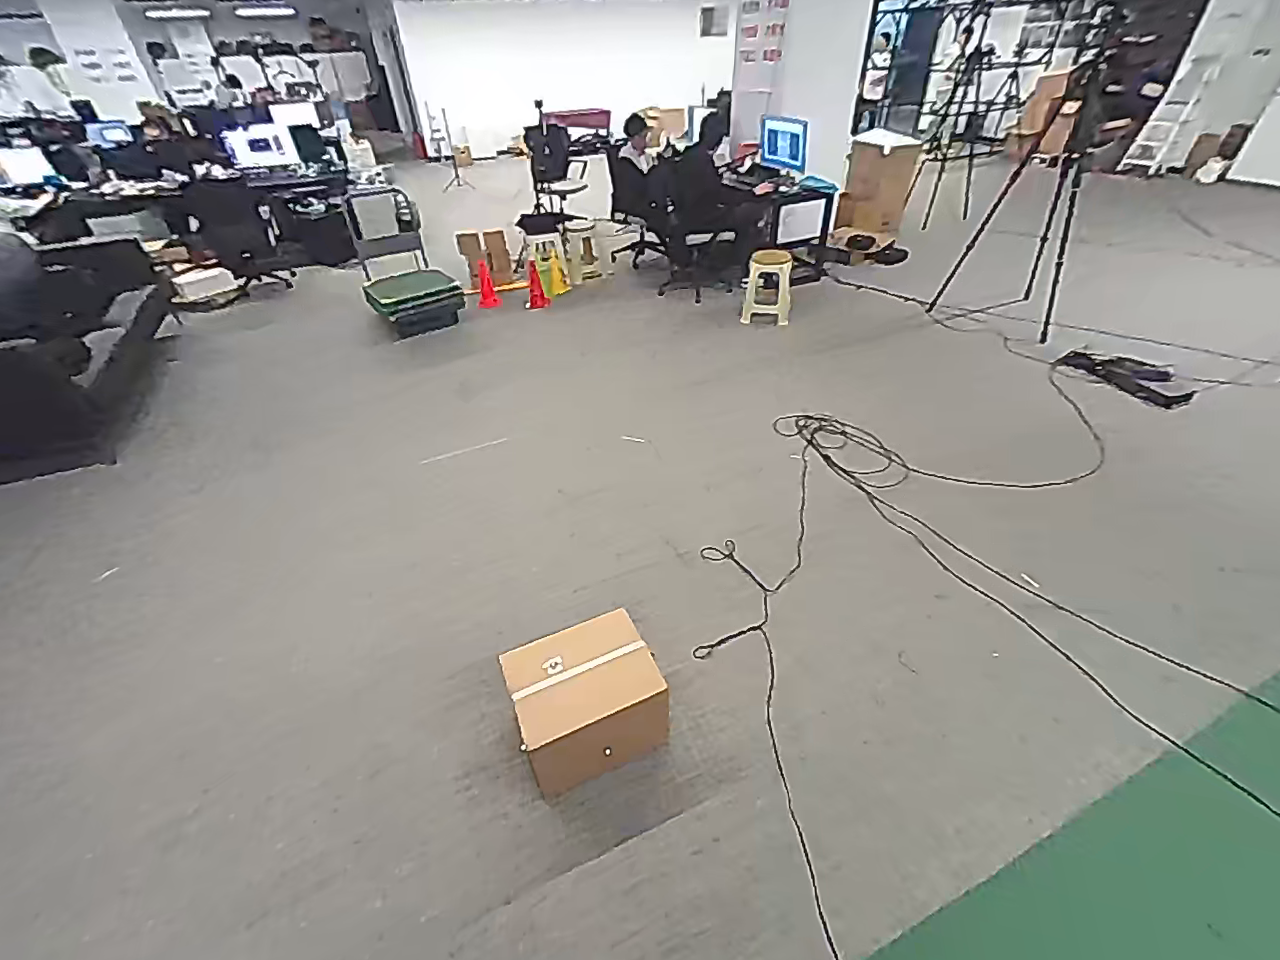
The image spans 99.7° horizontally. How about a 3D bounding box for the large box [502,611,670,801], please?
[{"bbox_3d":[-0.154,0.673,1.634,0.408,0.320,0.320,-19,40,-18],"label":"large box"}]
